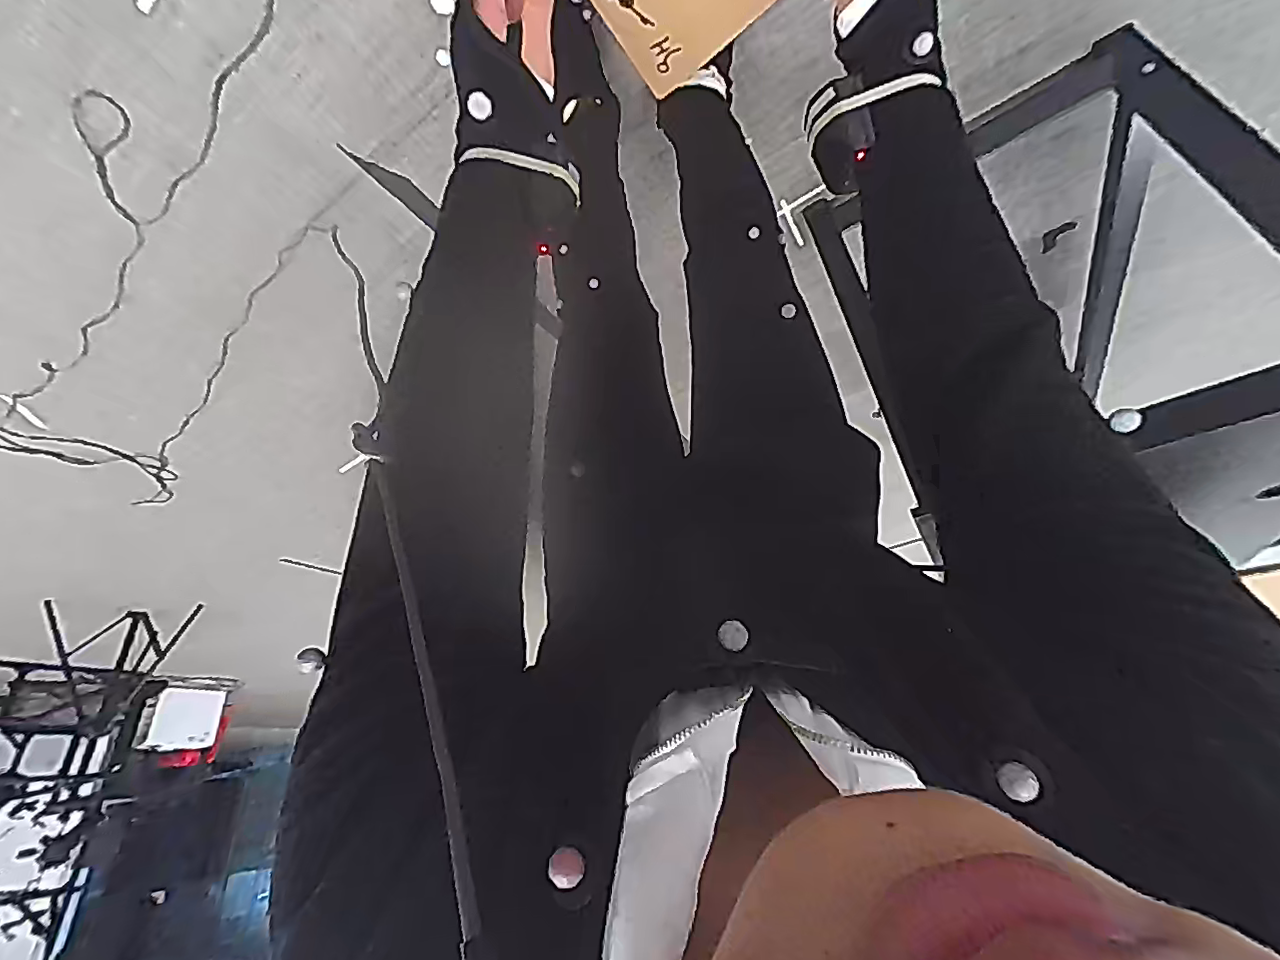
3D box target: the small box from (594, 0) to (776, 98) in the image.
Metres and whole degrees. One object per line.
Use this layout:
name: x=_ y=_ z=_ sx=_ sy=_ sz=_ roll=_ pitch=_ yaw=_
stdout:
small box: x=0.029 y=-0.478 z=0.436 sx=0.179 sy=0.176 sz=0.168 roll=-26 pitch=146 yaw=29
